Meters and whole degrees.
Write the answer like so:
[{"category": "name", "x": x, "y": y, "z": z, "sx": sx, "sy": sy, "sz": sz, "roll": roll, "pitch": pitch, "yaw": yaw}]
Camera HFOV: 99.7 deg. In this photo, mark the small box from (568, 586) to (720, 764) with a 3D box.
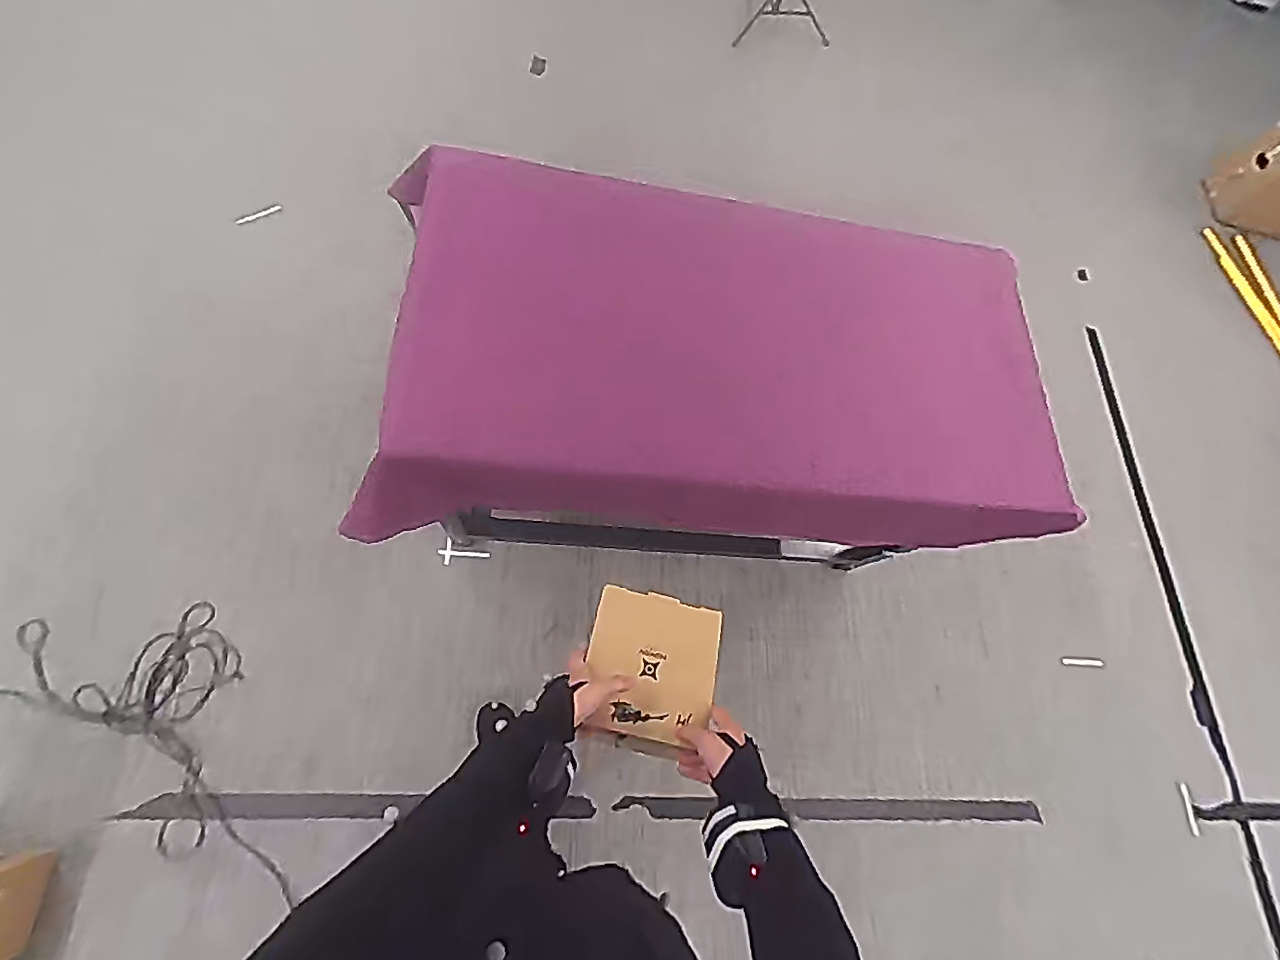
[{"category": "small box", "x": 0.000, "y": 0.271, "z": 0.738, "sx": 0.168, "sy": 0.176, "sz": 0.179, "roll": 14, "pitch": 58, "yaw": 0}]
